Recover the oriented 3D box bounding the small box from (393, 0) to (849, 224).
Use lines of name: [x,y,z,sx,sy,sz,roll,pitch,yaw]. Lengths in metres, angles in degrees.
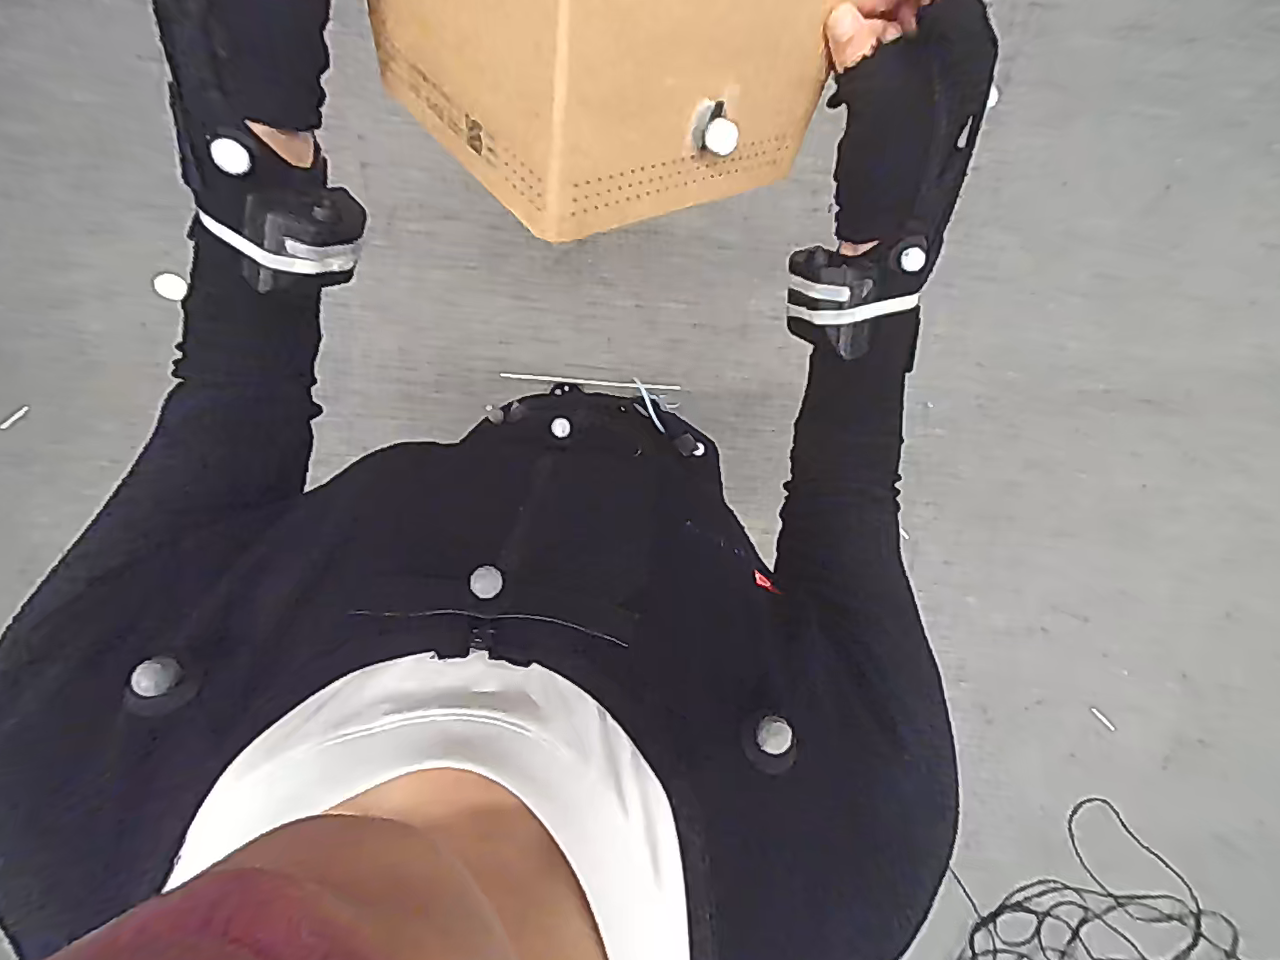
small box: [-0.010,-0.252,0.253,0.179,0.176,0.168,-30,67,-28]
